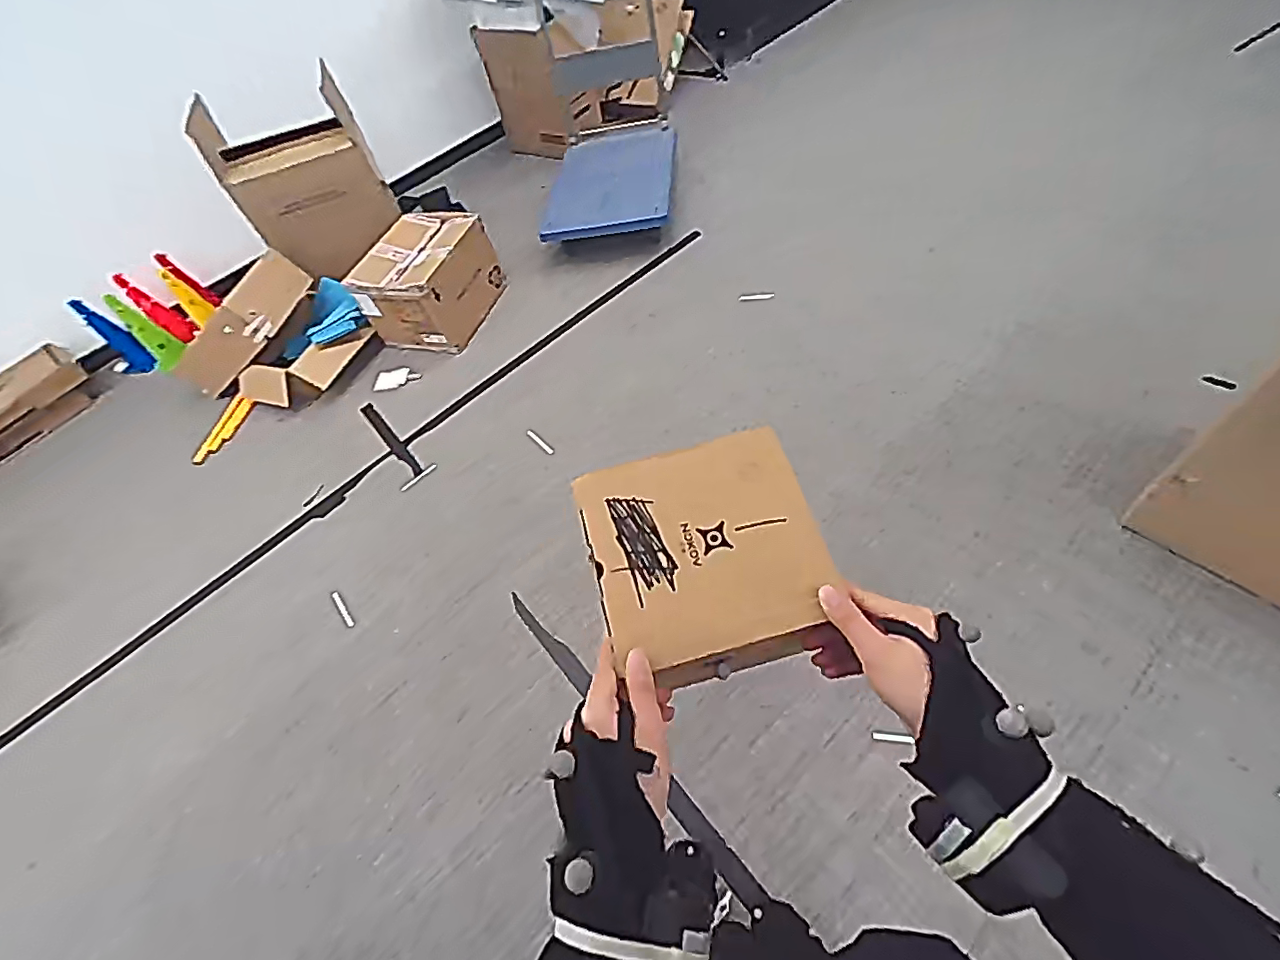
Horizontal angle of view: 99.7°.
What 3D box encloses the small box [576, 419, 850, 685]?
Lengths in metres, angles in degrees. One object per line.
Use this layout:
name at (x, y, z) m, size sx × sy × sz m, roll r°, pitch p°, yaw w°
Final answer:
small box at (0.056, 0.075, 0.488) m, size 0.179 × 0.176 × 0.168 m, roll -15°, pitch 64°, yaw -3°
